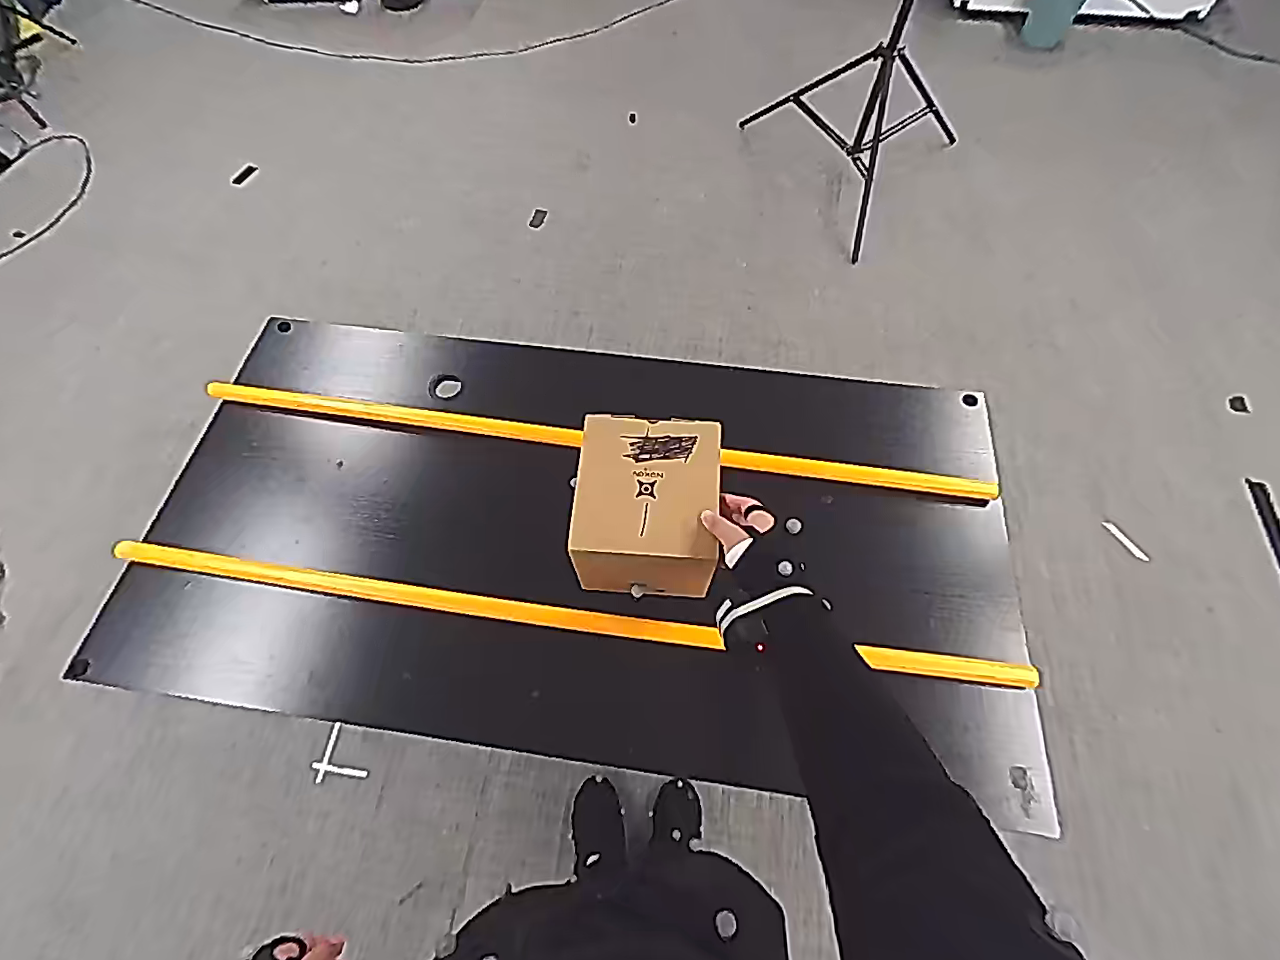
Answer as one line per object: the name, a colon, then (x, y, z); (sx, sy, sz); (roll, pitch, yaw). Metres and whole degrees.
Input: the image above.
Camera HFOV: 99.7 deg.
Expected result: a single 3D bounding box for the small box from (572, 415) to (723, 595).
small box: (0.013, 0.037, 0.698); (0.168, 0.176, 0.179); (4, 64, 3)
